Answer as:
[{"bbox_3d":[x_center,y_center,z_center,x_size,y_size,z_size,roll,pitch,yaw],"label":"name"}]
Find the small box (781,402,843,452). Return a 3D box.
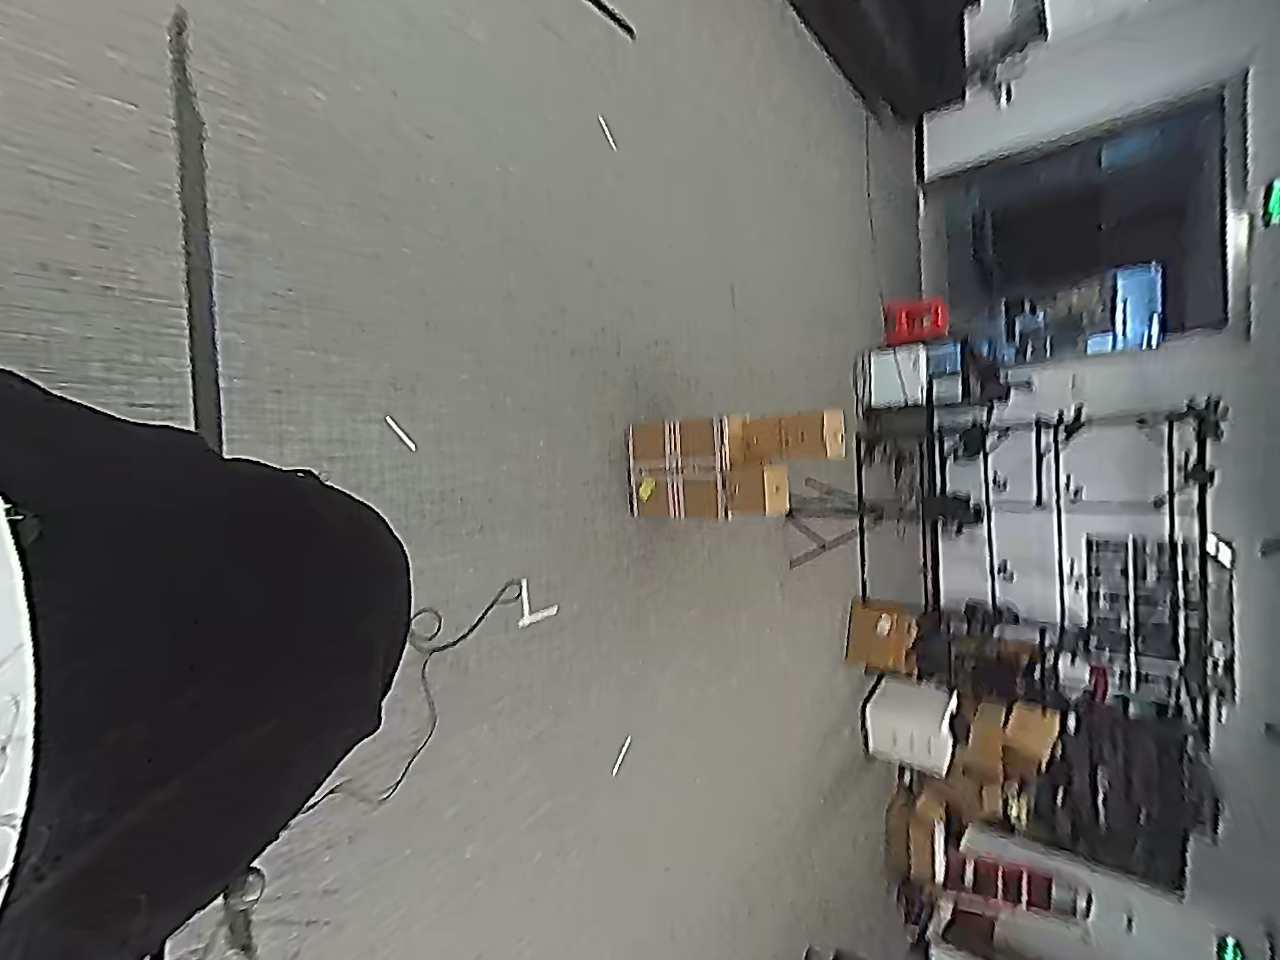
[{"bbox_3d":[0.629,-0.191,1.992,0.179,0.176,0.168,-6,93,-47],"label":"small box"}]

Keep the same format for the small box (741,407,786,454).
[{"bbox_3d":[0.513,-0.193,2.109,0.179,0.176,0.168,-8,94,-47],"label":"small box"}]
